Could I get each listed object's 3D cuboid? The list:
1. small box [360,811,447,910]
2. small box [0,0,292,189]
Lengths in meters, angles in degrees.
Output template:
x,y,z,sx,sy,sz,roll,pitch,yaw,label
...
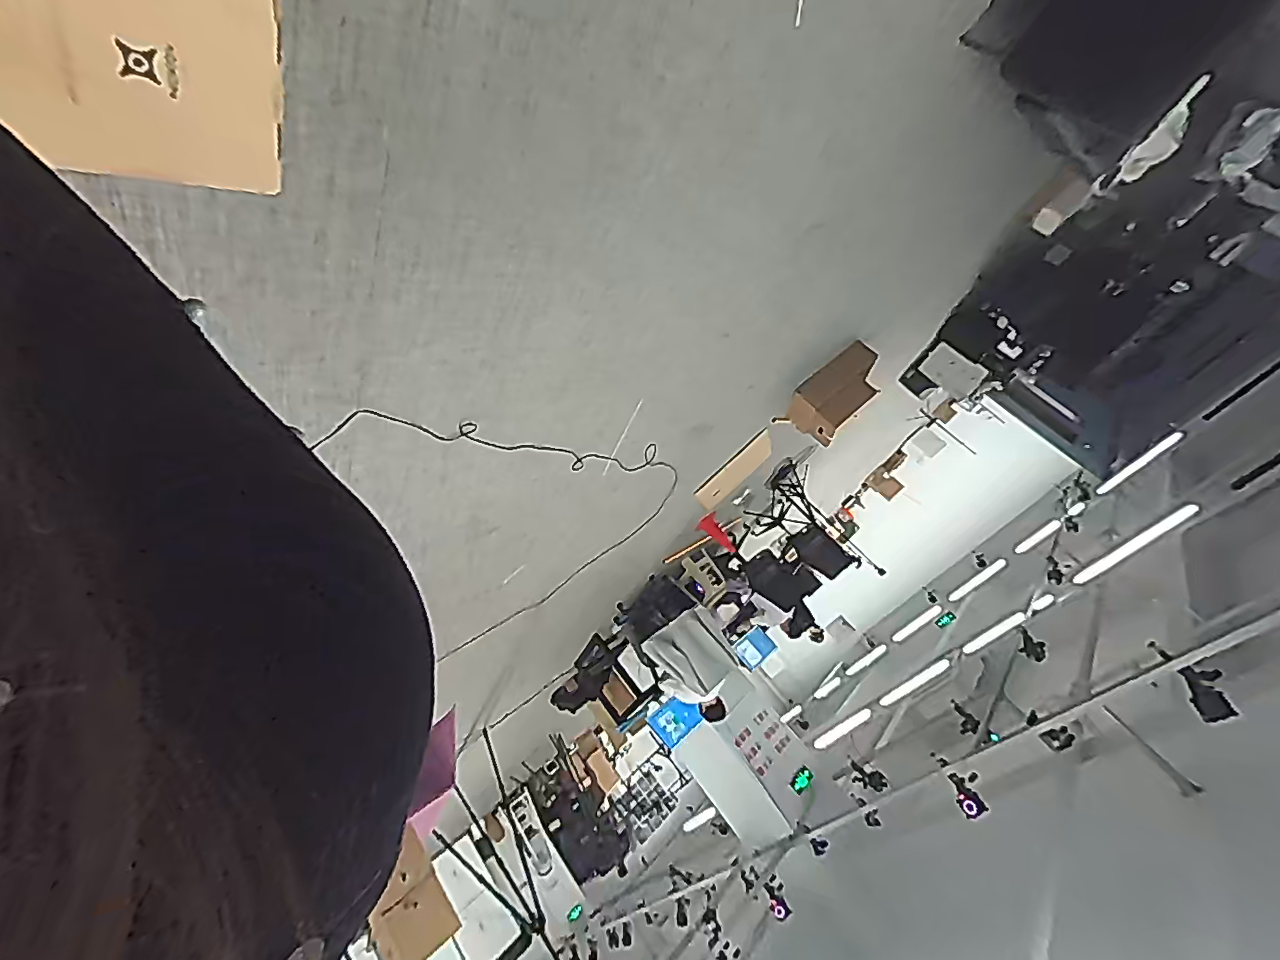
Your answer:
x,y,z,sx,sy,sz,roll,pitch,yaw,label
-0.734,1.171,1.674,0.179,0.176,0.168,-19,150,-45,small box
-0.401,-0.358,0.419,0.179,0.176,0.168,-20,149,-45,small box
